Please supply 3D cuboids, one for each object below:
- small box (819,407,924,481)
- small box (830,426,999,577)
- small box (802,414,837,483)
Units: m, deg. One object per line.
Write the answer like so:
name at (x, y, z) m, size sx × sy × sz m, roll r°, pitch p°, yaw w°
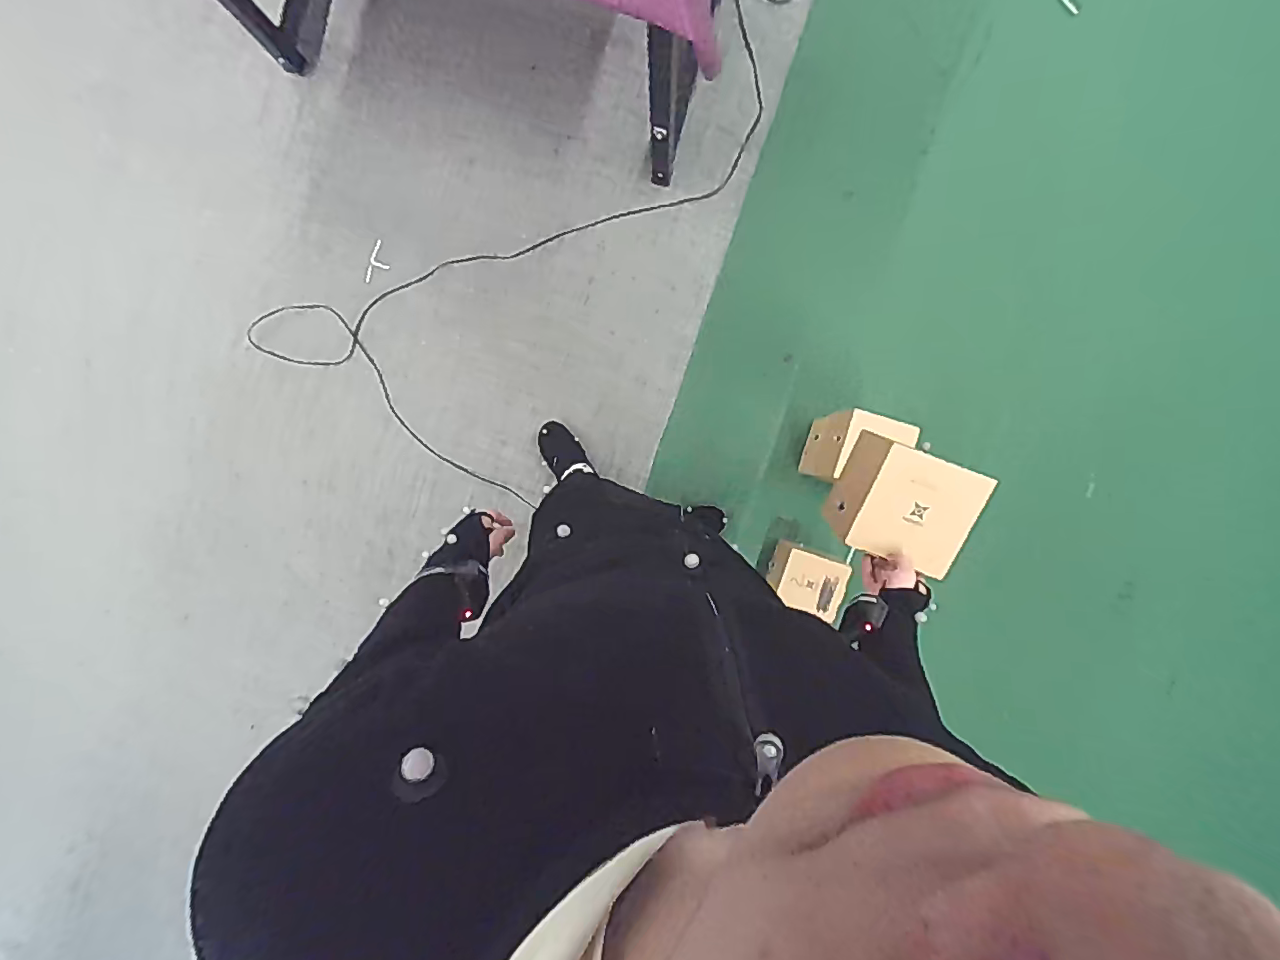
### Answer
small box at (0.569, -0.071, 1.356) m, size 0.168 × 0.176 × 0.179 m, roll 18°, pitch 93°, yaw 1°
small box at (0.430, 0.026, 0.886) m, size 0.168 × 0.176 × 0.179 m, roll 21°, pitch 104°, yaw 2°
small box at (0.577, -0.075, 1.521) m, size 0.179 × 0.176 × 0.168 m, roll 17°, pitch 93°, yaw 0°
